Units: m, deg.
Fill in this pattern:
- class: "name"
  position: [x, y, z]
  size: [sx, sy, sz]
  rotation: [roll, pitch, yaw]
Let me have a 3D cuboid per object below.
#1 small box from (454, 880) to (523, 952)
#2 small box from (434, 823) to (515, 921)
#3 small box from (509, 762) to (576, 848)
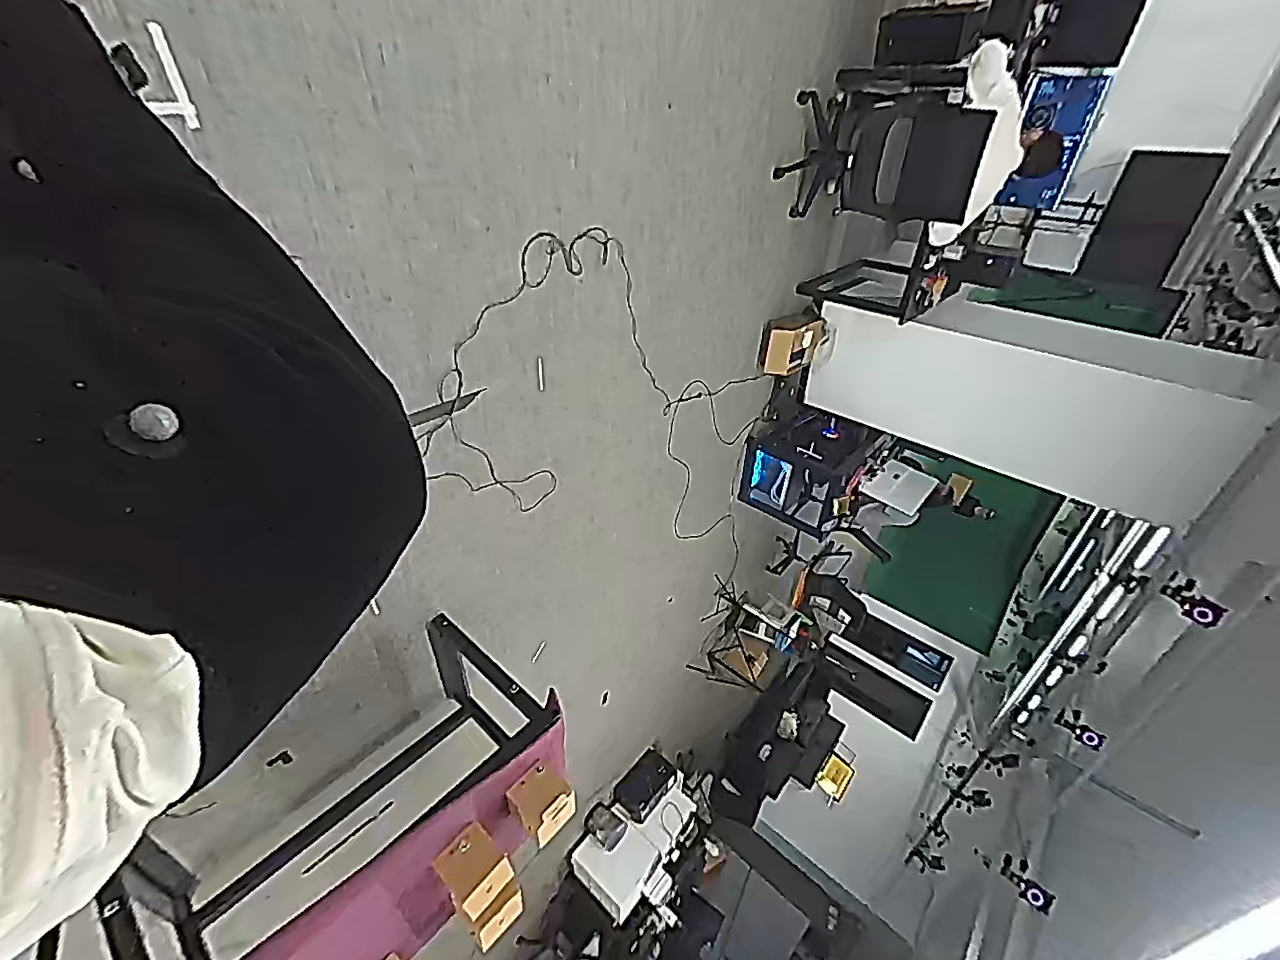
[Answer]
- class: "small box"
  position: [-0.528, 1.473, 1.886]
  size: [0.168, 0.176, 0.179]
  rotation: [-29, 135, -41]
- class: "small box"
  position: [-0.526, 1.242, 1.723]
  size: [0.168, 0.176, 0.179]
  rotation: [-37, 140, -36]
- class: "small box"
  position: [-0.344, 1.131, 1.896]
  size: [0.168, 0.176, 0.179]
  rotation: [-33, 139, -38]
